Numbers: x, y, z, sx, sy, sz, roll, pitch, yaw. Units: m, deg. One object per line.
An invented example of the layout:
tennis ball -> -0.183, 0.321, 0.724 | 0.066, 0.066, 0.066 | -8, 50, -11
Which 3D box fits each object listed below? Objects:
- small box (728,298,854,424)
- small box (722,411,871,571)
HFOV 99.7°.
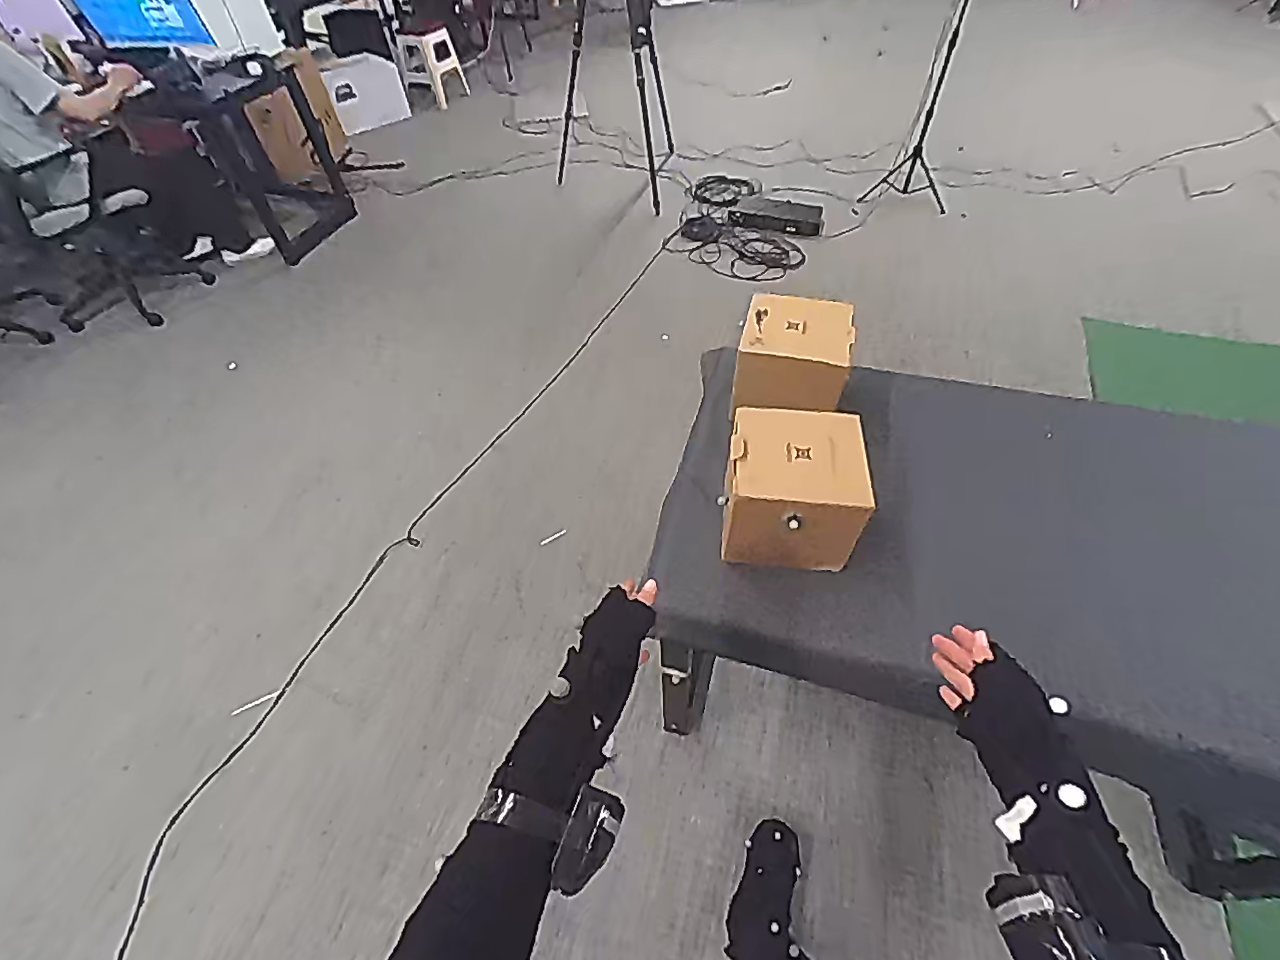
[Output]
small box -> 0.265, -0.195, 0.965 | 0.179, 0.176, 0.168 | 12, 53, 11
small box -> 0.216, 0.019, 0.796 | 0.179, 0.176, 0.168 | 5, 52, 5
